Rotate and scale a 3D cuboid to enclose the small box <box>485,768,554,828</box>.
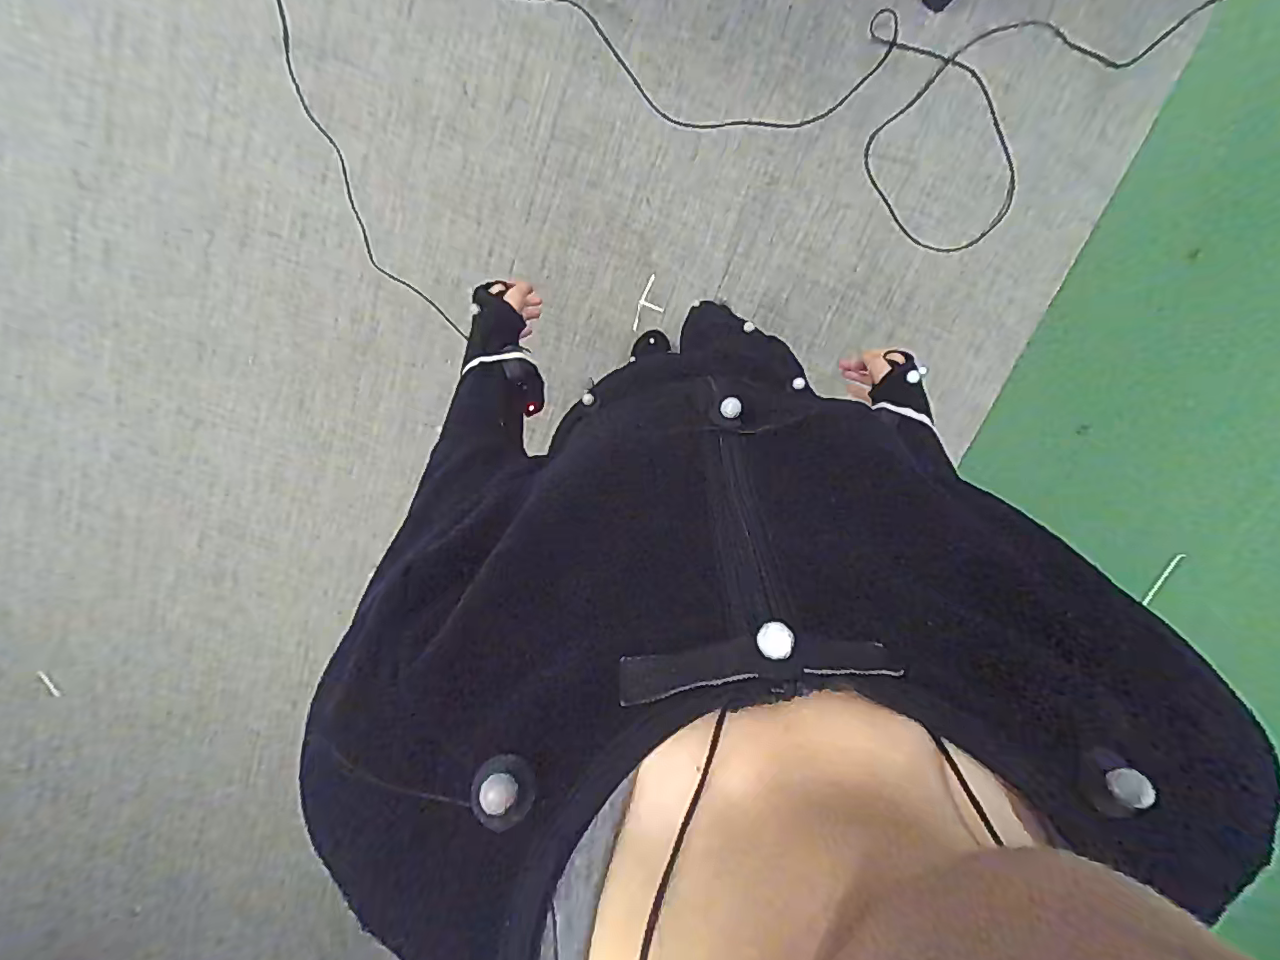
[{"bbox_3d":[-0.383,1.052,1.713,0.179,0.176,0.168,16,104,-7],"label":"small box"}]
